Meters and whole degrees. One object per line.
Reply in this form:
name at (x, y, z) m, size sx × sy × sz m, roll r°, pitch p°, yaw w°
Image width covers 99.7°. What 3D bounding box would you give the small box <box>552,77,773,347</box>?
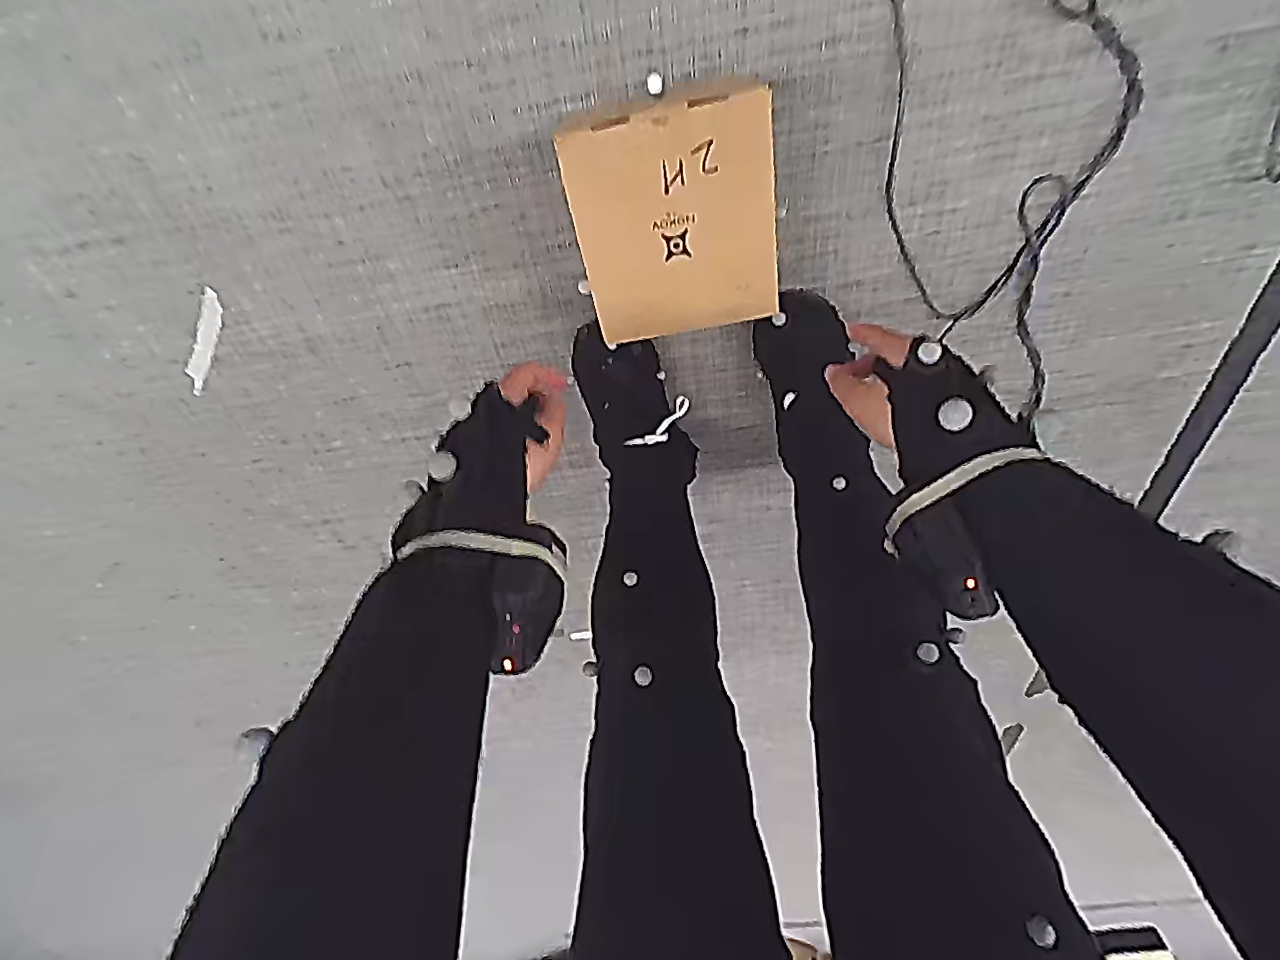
small box at (0.028, -0.254, 0.512) m, size 0.168 × 0.176 × 0.179 m, roll -9°, pitch 129°, yaw 7°
